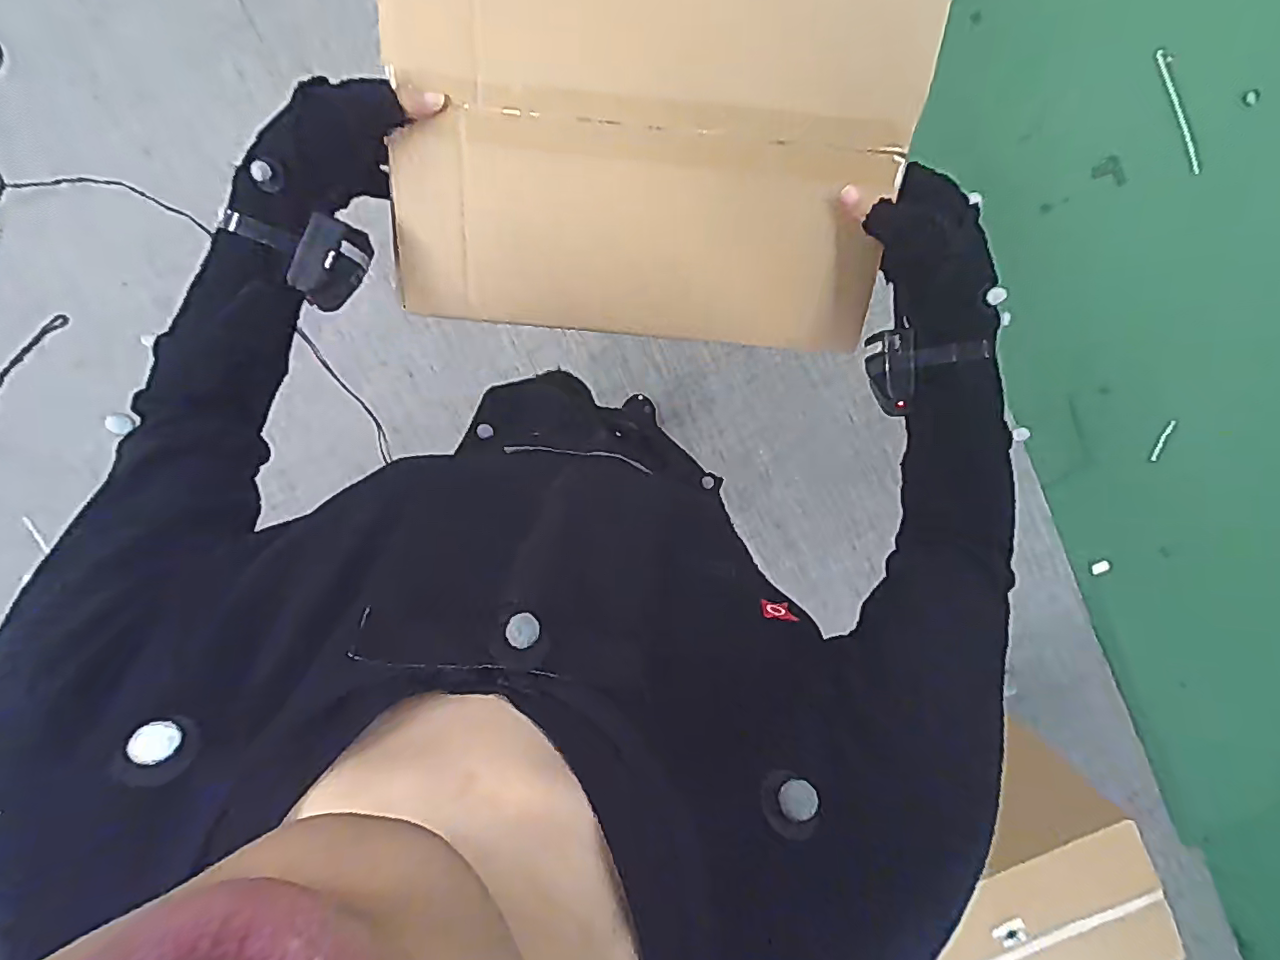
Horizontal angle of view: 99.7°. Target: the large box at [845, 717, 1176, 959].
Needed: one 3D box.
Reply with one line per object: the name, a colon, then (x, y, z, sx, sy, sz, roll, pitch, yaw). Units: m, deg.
large box: (0.701, 0.760, 1.081, 0.408, 0.320, 0.320, -25, 99, 3)
